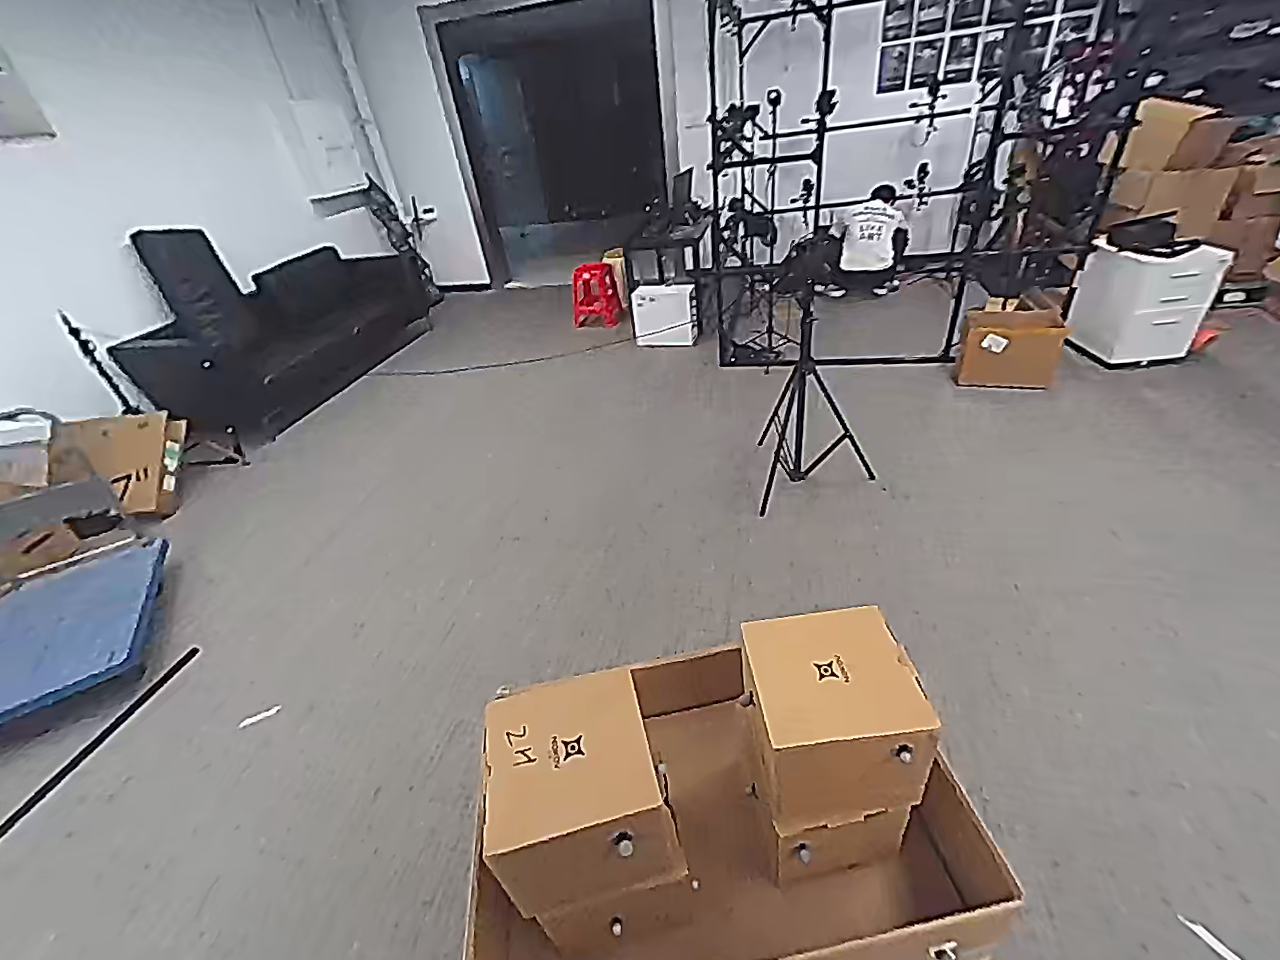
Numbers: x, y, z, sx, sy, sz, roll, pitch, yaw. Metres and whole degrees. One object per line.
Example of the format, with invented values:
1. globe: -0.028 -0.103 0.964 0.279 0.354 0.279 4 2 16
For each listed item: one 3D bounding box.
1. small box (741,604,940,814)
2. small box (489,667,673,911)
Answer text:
1. small box: 0.228 0.279 0.658 0.179 0.176 0.168 -8 35 1
2. small box: -0.064 0.351 0.621 0.179 0.176 0.168 -13 35 -6
